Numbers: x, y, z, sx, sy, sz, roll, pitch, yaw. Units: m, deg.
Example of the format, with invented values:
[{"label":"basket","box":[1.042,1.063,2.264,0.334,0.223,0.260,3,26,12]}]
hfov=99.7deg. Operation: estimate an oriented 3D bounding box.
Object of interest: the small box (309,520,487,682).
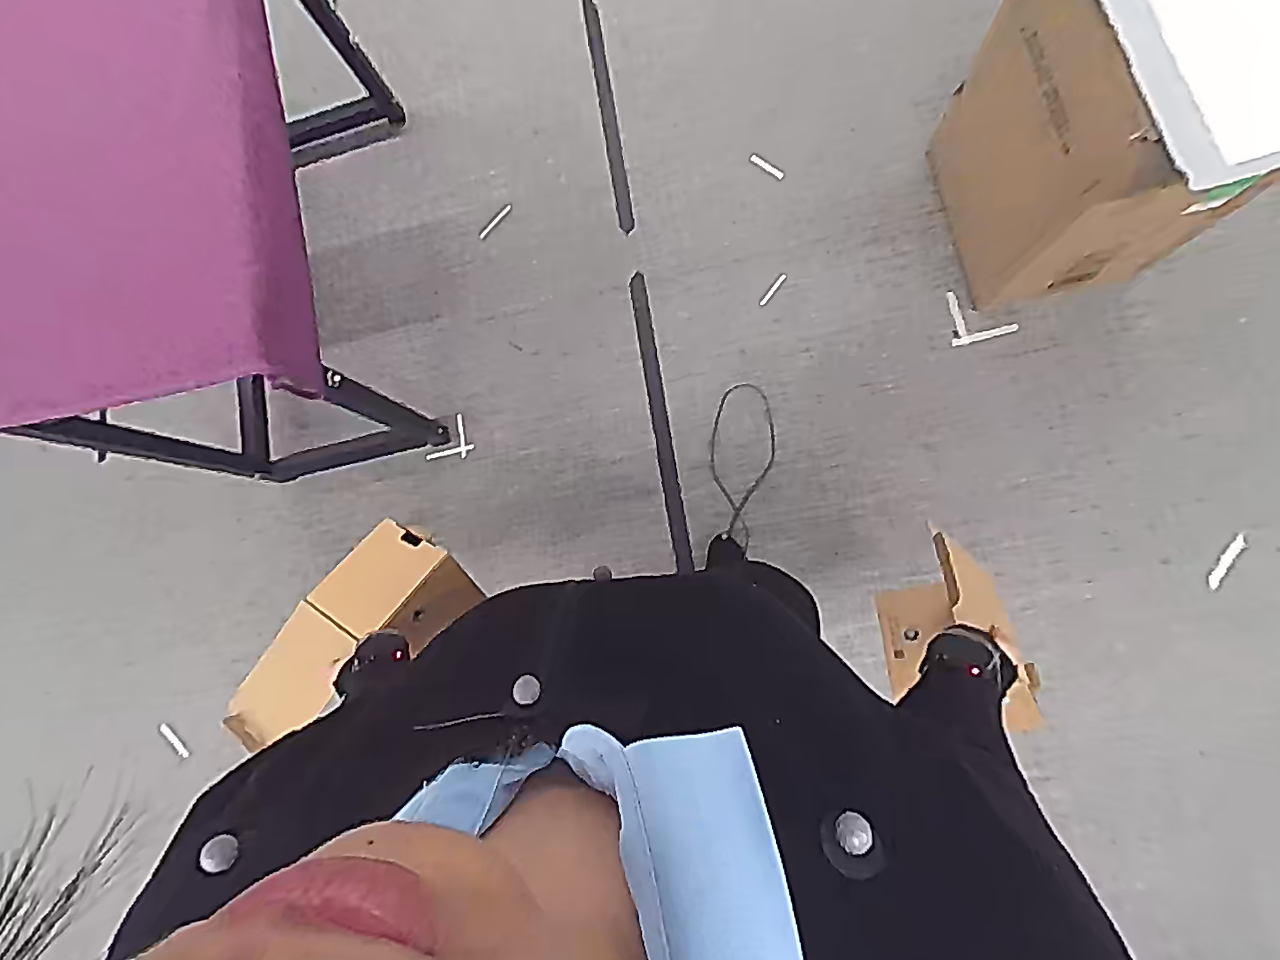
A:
[{"label":"small box","box":[-0.389,0.203,0.900,0.168,0.176,0.179,20,57,28]}]
